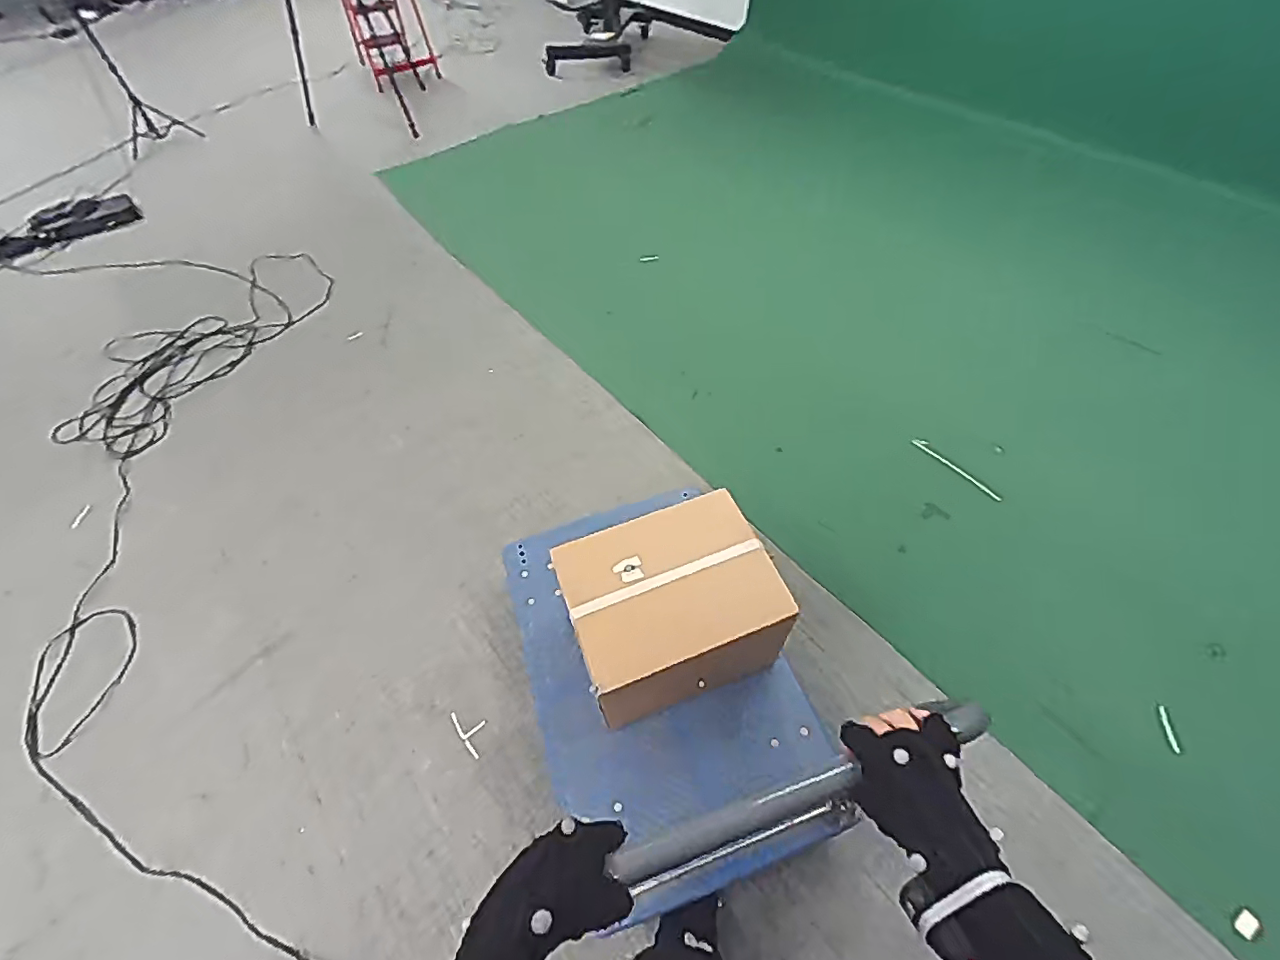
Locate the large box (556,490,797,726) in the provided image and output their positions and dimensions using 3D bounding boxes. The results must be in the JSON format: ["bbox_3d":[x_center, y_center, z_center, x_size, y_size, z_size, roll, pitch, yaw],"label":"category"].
[{"bbox_3d":[0.072,0.286,1.196,0.408,0.320,0.320,-21,55,-10],"label":"large box"}]
